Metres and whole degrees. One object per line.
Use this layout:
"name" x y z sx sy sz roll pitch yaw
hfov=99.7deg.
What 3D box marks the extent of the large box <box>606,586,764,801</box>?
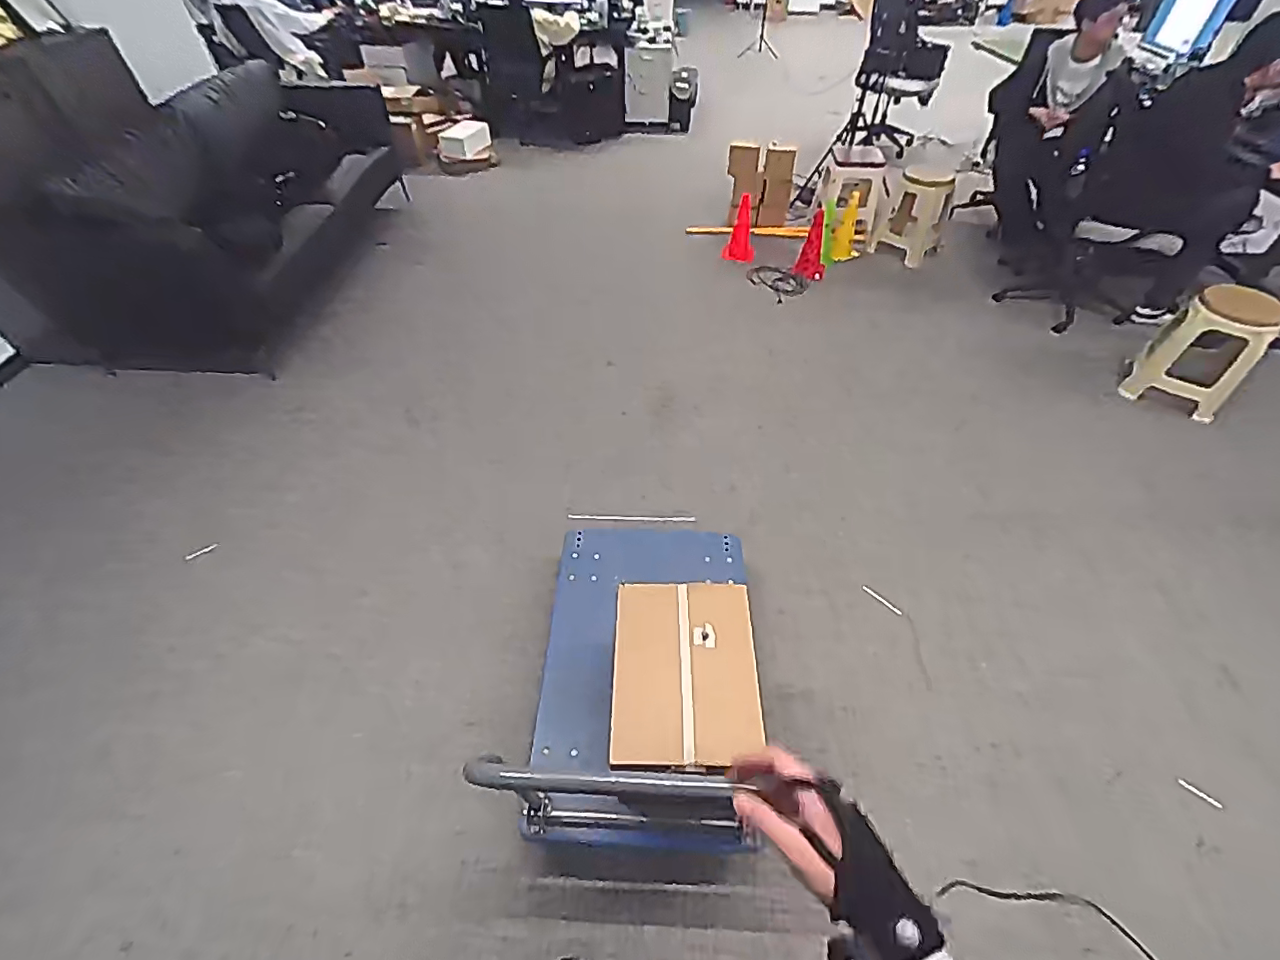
"large box" 0.092 0.507 1.290 0.320 0.320 0.408 1 48 1
